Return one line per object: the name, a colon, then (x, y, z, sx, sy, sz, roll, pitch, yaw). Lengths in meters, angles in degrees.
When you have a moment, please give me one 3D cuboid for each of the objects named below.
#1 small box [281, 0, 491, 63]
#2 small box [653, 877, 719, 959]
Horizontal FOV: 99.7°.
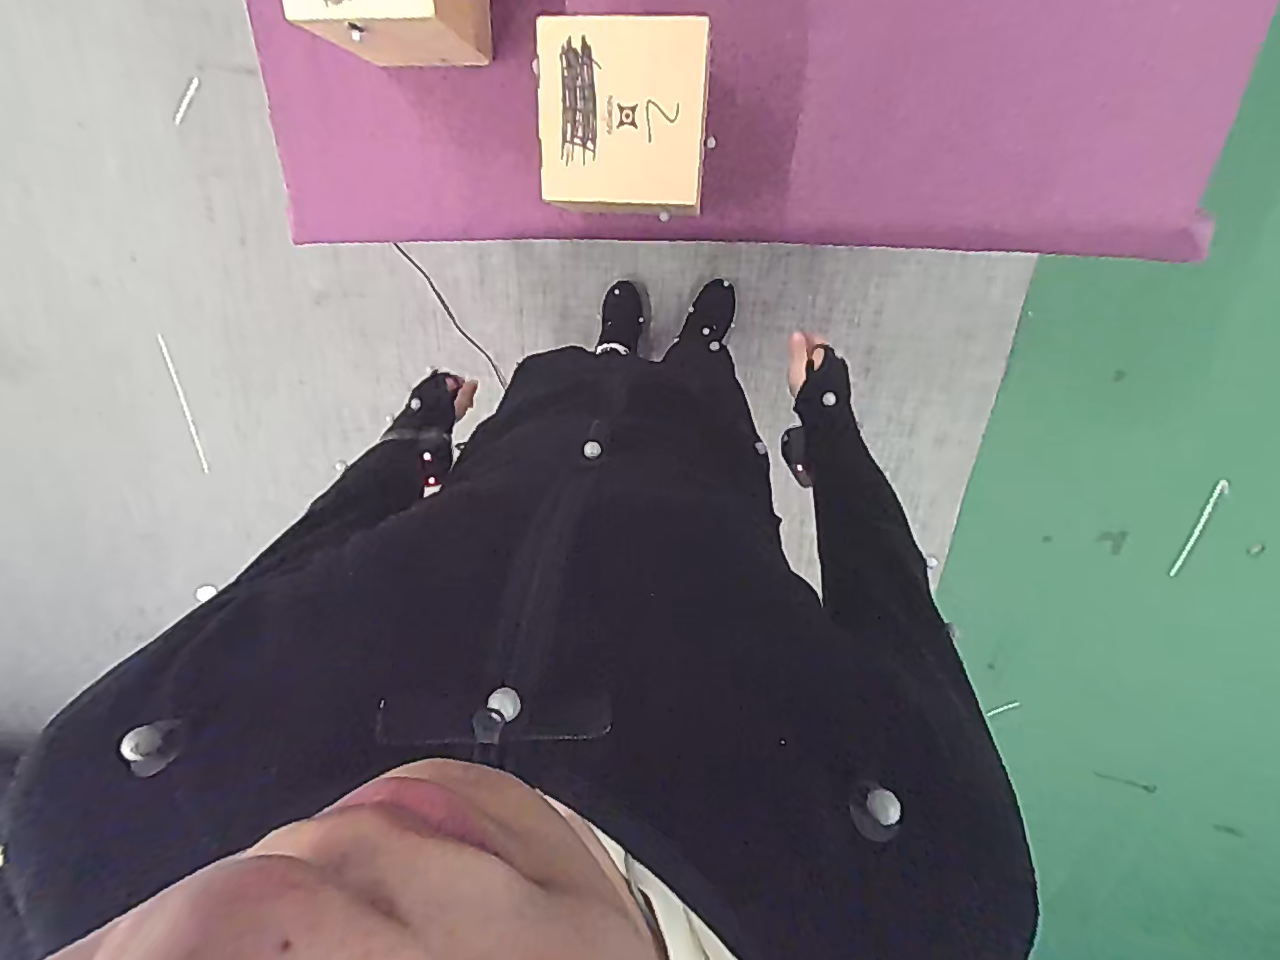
small box: (-0.275, -0.589, 0.591, 0.168, 0.176, 0.179, 5, 114, 7)
small box: (0.131, 1.279, 1.536, 0.168, 0.176, 0.179, 7, 115, 3)
